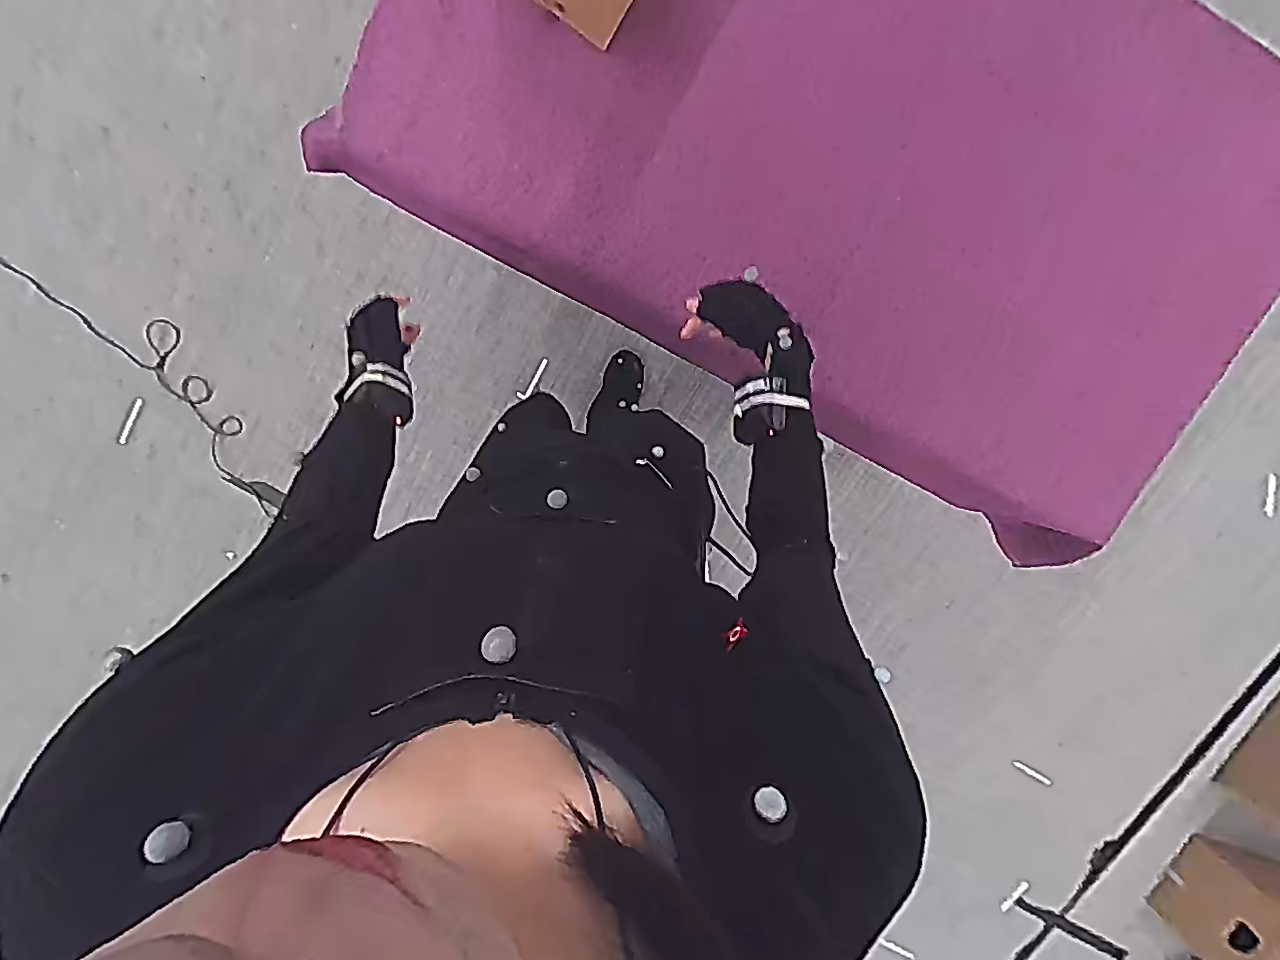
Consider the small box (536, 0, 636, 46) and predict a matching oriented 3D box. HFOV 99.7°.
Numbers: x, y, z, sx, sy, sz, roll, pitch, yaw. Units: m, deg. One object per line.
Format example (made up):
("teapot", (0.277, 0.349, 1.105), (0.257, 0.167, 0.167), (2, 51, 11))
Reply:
("small box", (-0.060, -0.617, 0.555), (0.168, 0.176, 0.179), (32, 100, -7))
